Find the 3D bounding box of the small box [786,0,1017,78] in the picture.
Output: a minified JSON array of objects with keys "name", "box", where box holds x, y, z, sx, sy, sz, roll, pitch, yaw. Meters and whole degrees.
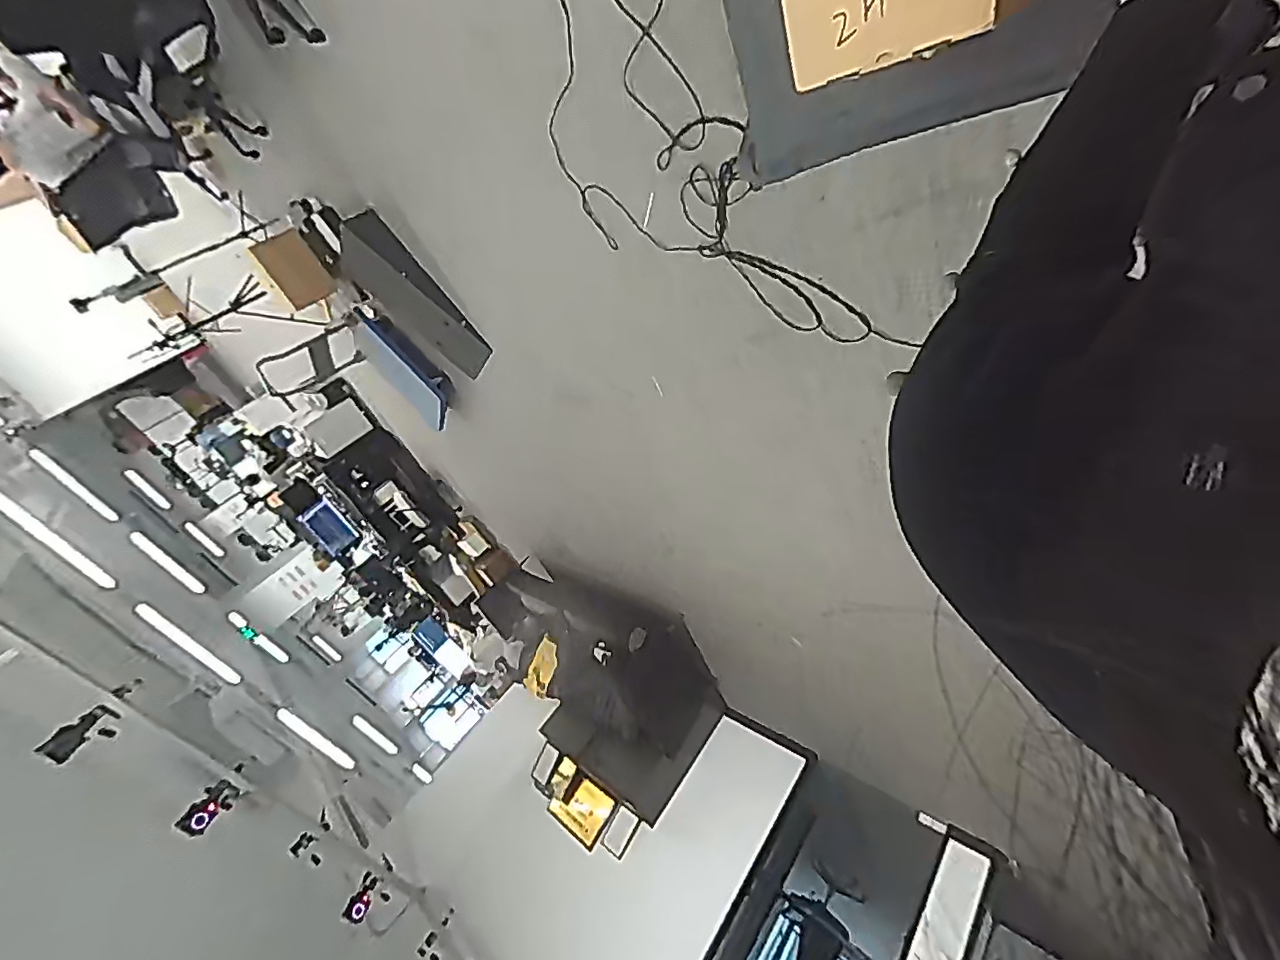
[{"name":"small box","box":[0.224,-0.468,0.434,0.168,0.176,0.179,13,138,42]}]
